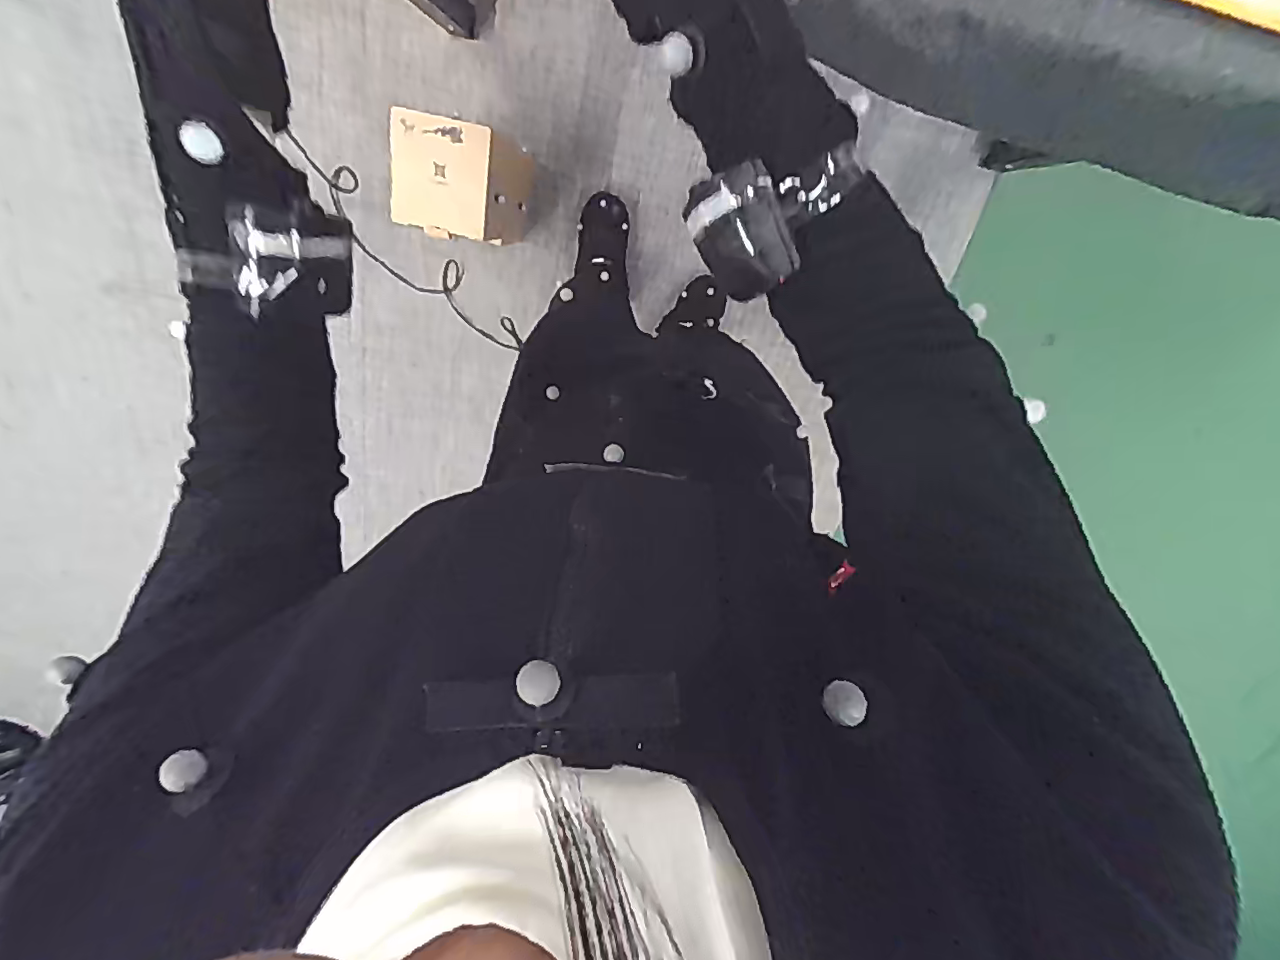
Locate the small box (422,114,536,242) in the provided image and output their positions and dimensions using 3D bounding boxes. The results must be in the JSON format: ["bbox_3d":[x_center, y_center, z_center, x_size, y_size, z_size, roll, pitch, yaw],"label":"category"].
[{"bbox_3d":[-0.326,-0.619,1.123,0.168,0.176,0.179,20,117,-7],"label":"small box"}]
